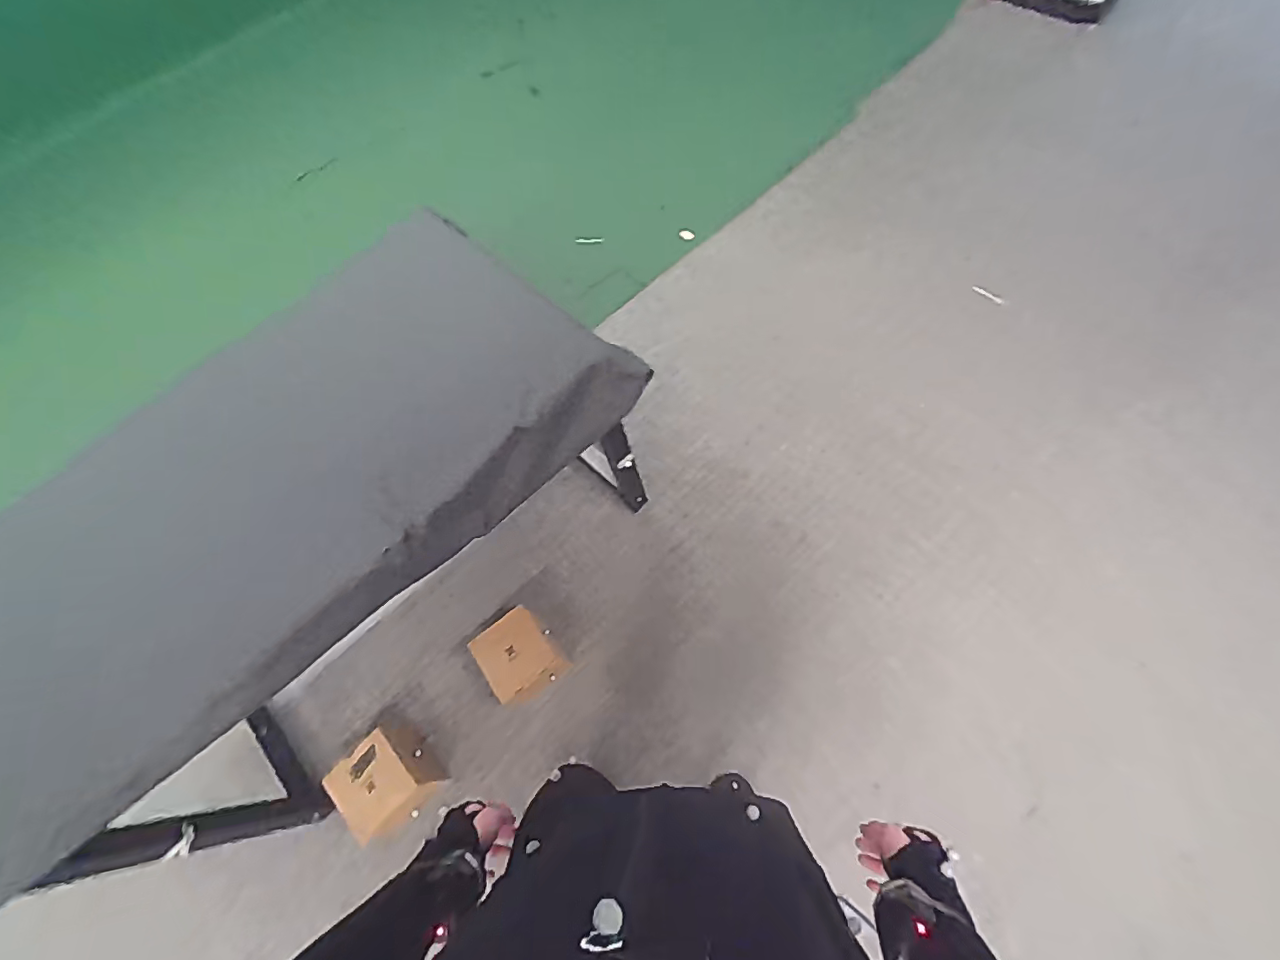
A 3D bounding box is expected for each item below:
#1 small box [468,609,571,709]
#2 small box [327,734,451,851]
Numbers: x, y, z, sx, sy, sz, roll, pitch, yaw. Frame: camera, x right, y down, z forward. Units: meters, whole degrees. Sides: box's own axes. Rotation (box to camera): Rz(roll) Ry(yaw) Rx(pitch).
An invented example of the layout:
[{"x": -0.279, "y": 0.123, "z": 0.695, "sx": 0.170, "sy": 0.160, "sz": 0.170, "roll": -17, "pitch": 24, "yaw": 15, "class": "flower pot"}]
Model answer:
[{"x": -0.299, "y": 0.462, "z": 1.383, "sx": 0.168, "sy": 0.176, "sz": 0.179, "roll": -39, "pitch": 65, "yaw": -11, "class": "small box"}, {"x": -0.596, "y": 0.739, "z": 1.299, "sx": 0.179, "sy": 0.176, "sz": 0.168, "roll": 40, "pitch": 77, "yaw": 21, "class": "small box"}]
